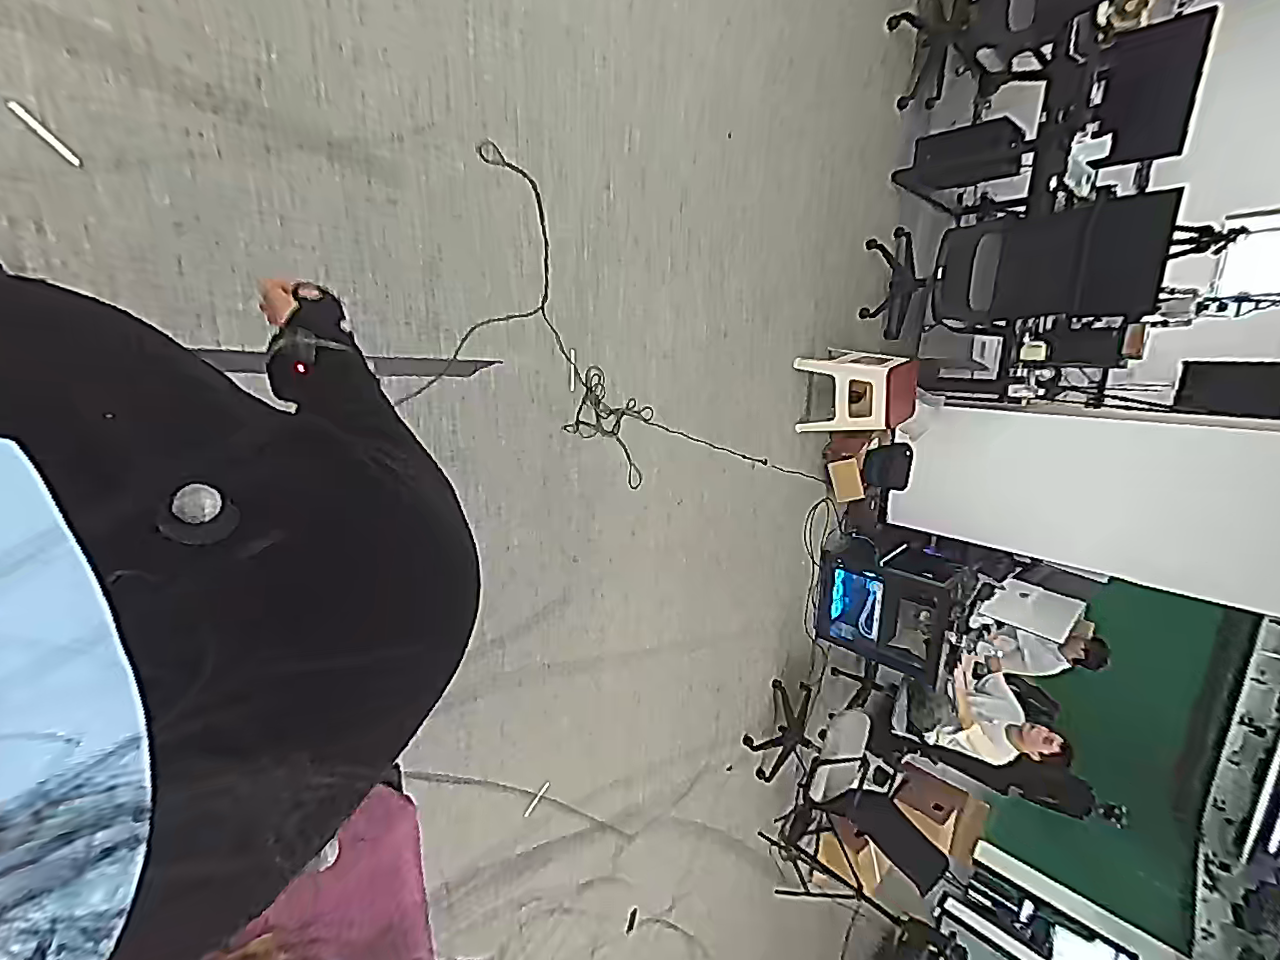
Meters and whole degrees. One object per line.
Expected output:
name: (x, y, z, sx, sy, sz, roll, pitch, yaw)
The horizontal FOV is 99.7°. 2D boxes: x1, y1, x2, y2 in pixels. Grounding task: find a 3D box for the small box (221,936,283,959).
small box: (-0.520, 0.741, 0.672, 0.168, 0.176, 0.179, -14, 109, -40)
